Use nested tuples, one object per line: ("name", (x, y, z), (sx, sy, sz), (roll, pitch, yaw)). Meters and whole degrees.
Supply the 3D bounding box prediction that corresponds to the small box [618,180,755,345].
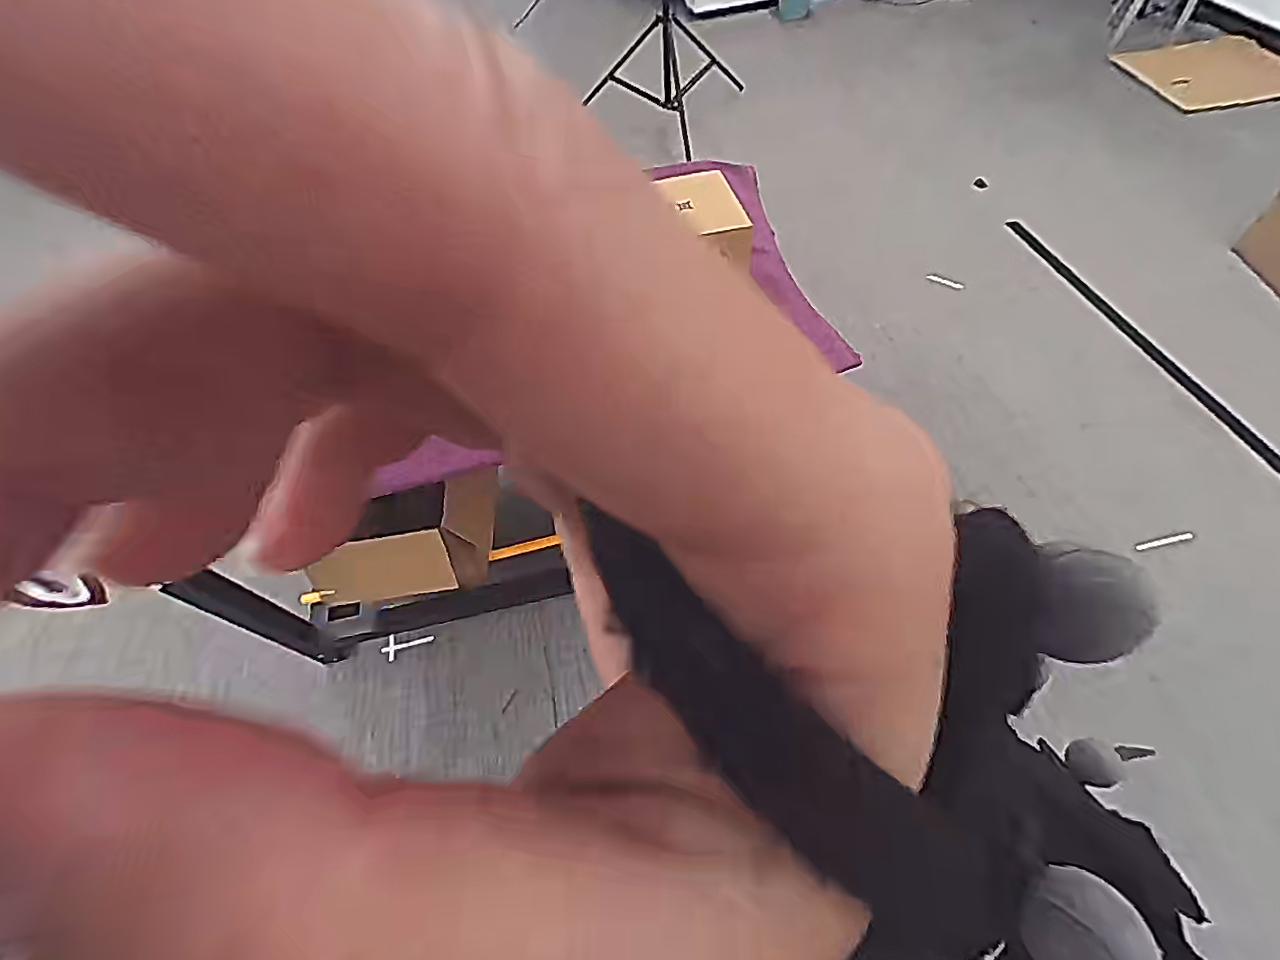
("small box", (0.069, -0.343, 0.865), (0.179, 0.176, 0.168), (-12, 54, -3))
